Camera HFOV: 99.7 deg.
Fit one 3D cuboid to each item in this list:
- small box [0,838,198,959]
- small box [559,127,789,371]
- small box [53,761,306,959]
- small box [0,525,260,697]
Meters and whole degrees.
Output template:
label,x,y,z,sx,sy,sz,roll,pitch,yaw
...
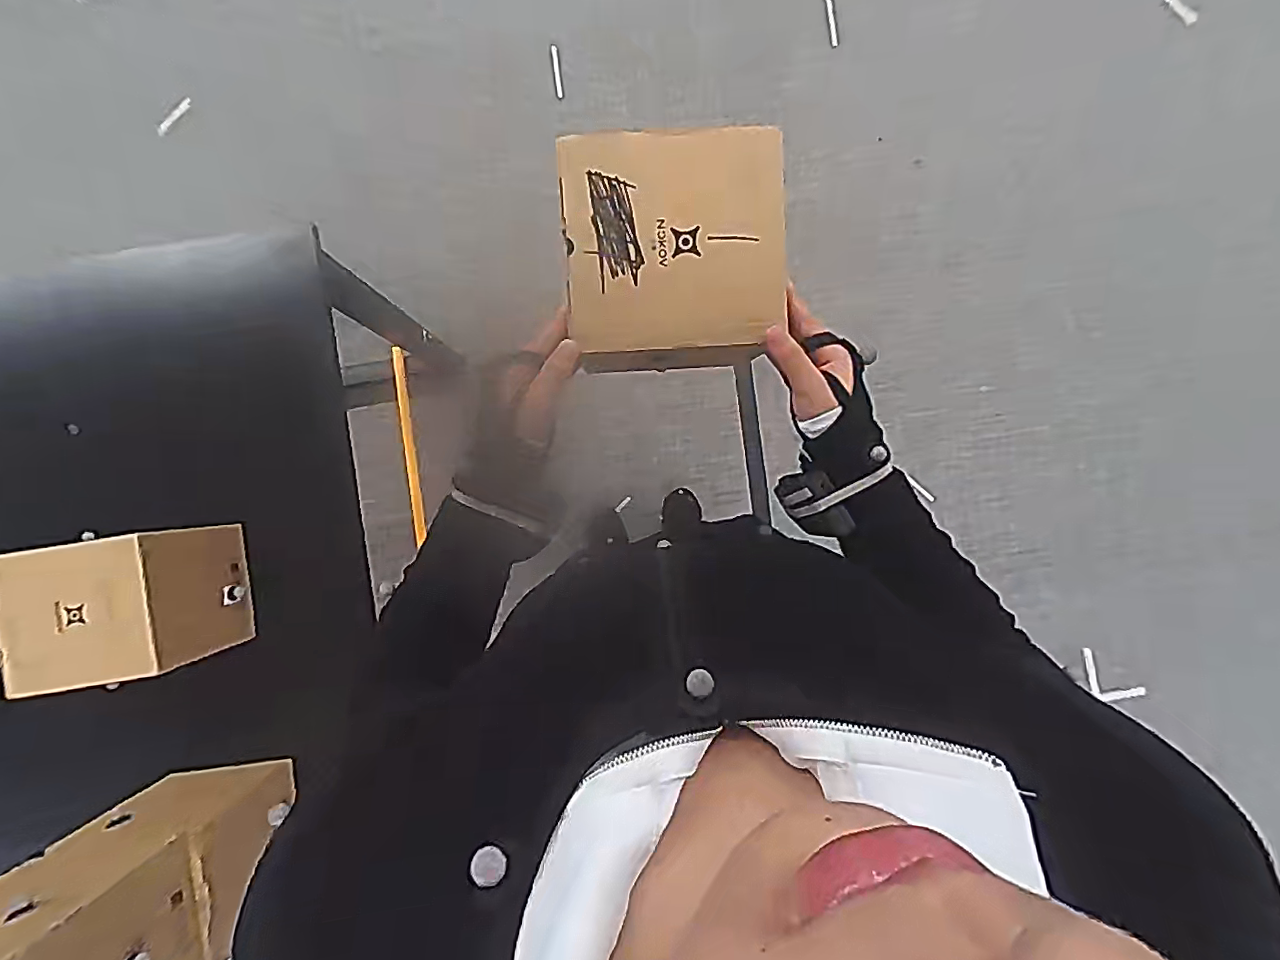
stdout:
label,x,y,z,sx,sy,sz,roll,pitch,yaw
small box,-0.573,0.484,0.521,0.179,0.176,0.168,-10,89,-1
small box,0.027,-0.194,0.502,0.179,0.176,0.168,-4,96,-2
small box,-0.565,0.484,0.685,0.179,0.176,0.168,-7,89,-1
small box,-0.640,0.155,0.695,0.179,0.176,0.168,-10,90,-1
